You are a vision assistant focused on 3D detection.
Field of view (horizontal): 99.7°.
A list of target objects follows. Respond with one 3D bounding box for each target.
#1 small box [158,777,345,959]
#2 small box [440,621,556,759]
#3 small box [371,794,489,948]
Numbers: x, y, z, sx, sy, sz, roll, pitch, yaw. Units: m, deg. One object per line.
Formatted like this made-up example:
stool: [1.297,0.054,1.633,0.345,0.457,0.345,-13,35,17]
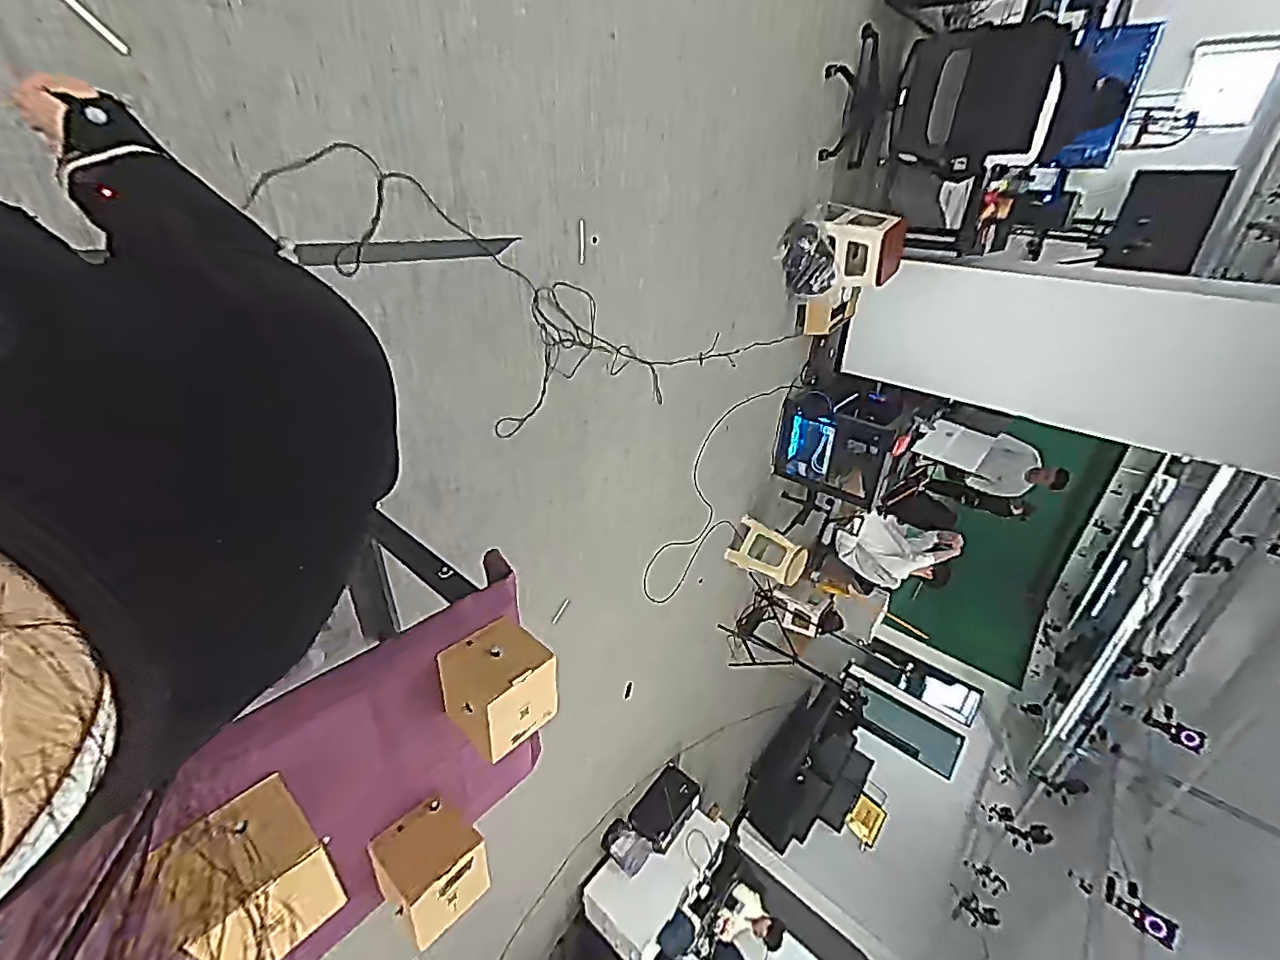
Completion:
small box: [-0.585,0.601,0.823,0.168,0.176,0.179,-29,132,-42]
small box: [-0.289,0.413,1.103,0.168,0.176,0.179,-26,130,-43]
small box: [-0.442,0.807,1.139,0.168,0.176,0.179,-25,128,-44]
